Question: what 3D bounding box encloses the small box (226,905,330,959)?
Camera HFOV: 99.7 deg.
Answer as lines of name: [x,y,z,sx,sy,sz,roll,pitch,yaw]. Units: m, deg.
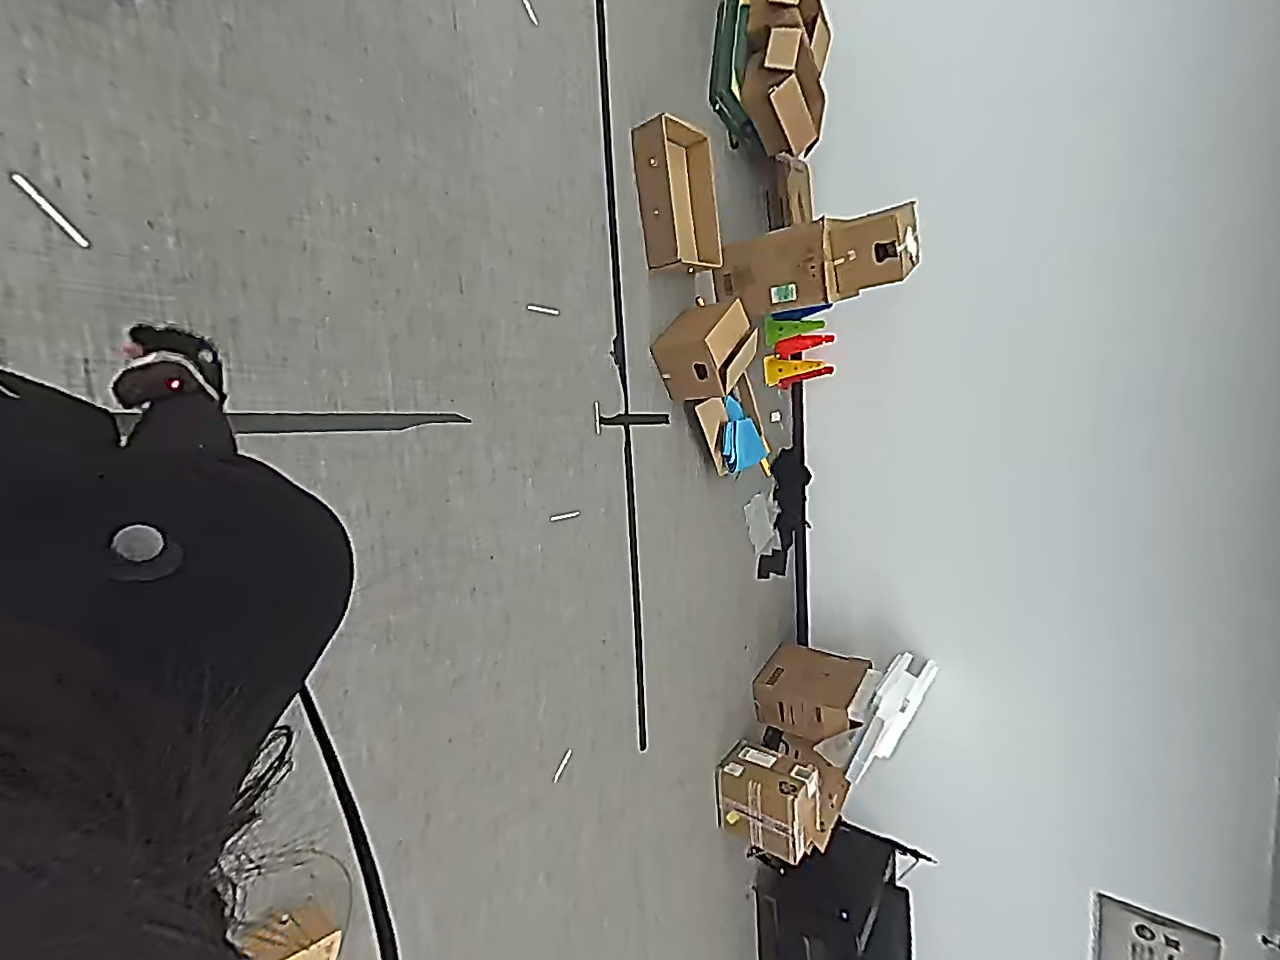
small box: [-0.894,1.199,1.320,0.179,0.176,0.168,11,83,-52]
